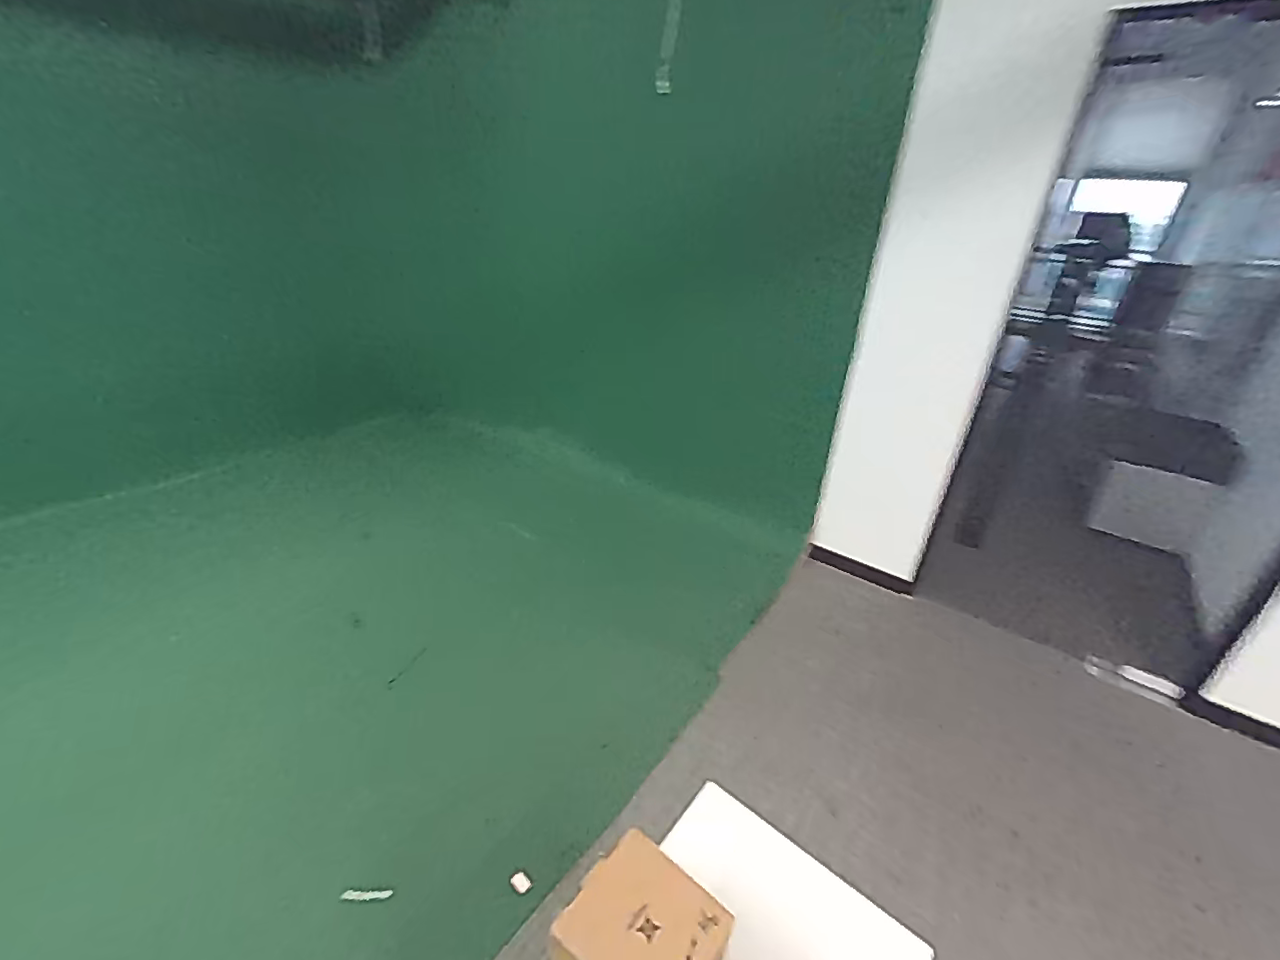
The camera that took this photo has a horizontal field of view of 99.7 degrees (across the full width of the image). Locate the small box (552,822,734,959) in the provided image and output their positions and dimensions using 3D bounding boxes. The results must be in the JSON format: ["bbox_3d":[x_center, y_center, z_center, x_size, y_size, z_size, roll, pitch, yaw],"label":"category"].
[{"bbox_3d":[0.000,0.622,0.722,0.179,0.176,0.168,24,36,32],"label":"small box"}]
